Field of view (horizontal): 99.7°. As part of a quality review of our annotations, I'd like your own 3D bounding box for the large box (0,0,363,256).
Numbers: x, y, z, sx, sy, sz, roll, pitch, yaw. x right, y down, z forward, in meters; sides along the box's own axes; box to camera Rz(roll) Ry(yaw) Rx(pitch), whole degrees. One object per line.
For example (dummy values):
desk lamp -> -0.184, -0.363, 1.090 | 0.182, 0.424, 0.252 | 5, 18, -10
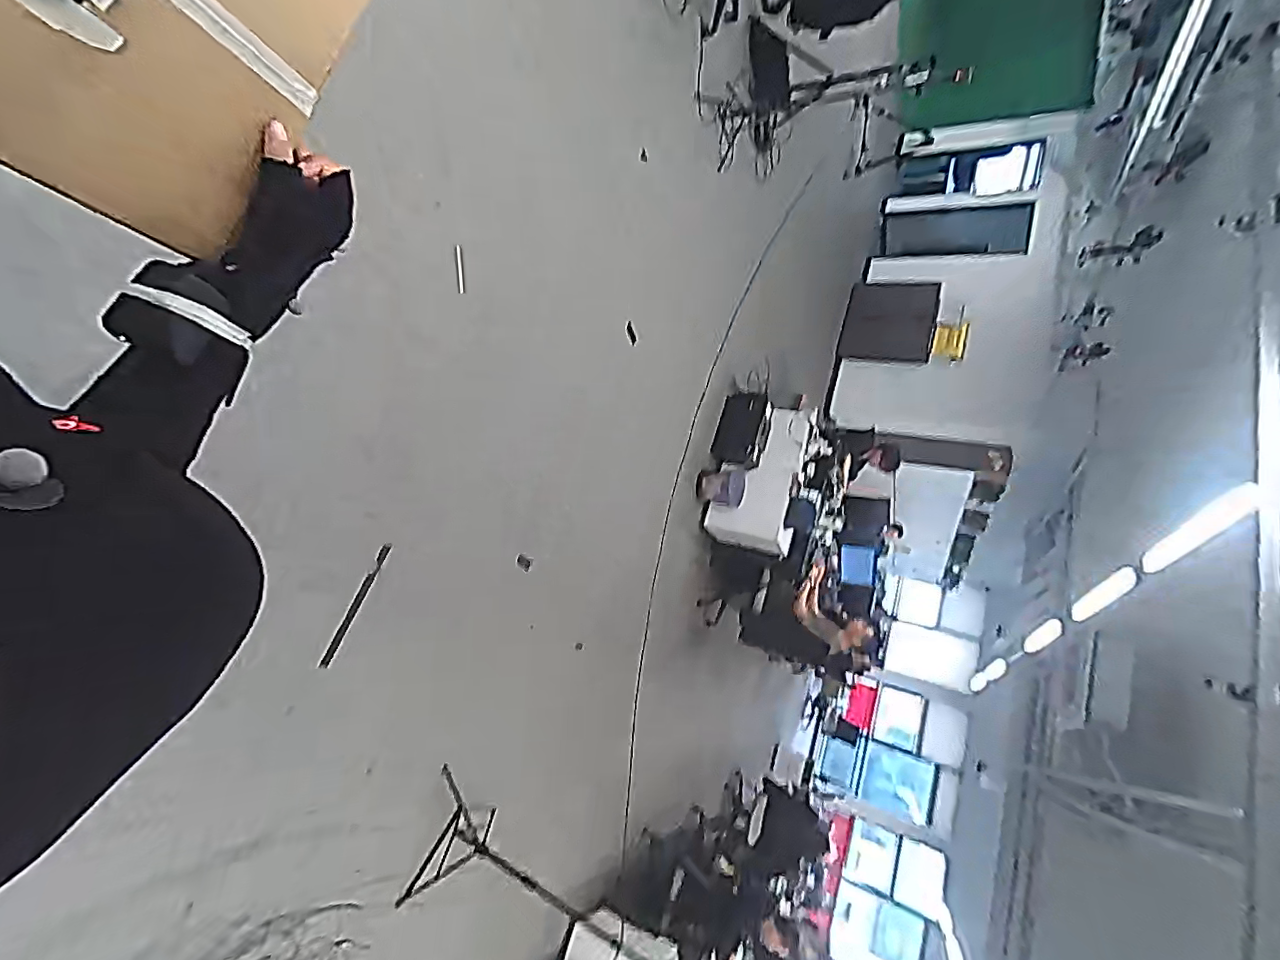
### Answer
large box -> -0.476, -0.422, 0.347 | 0.320, 0.320, 0.408 | -61, 152, 1
